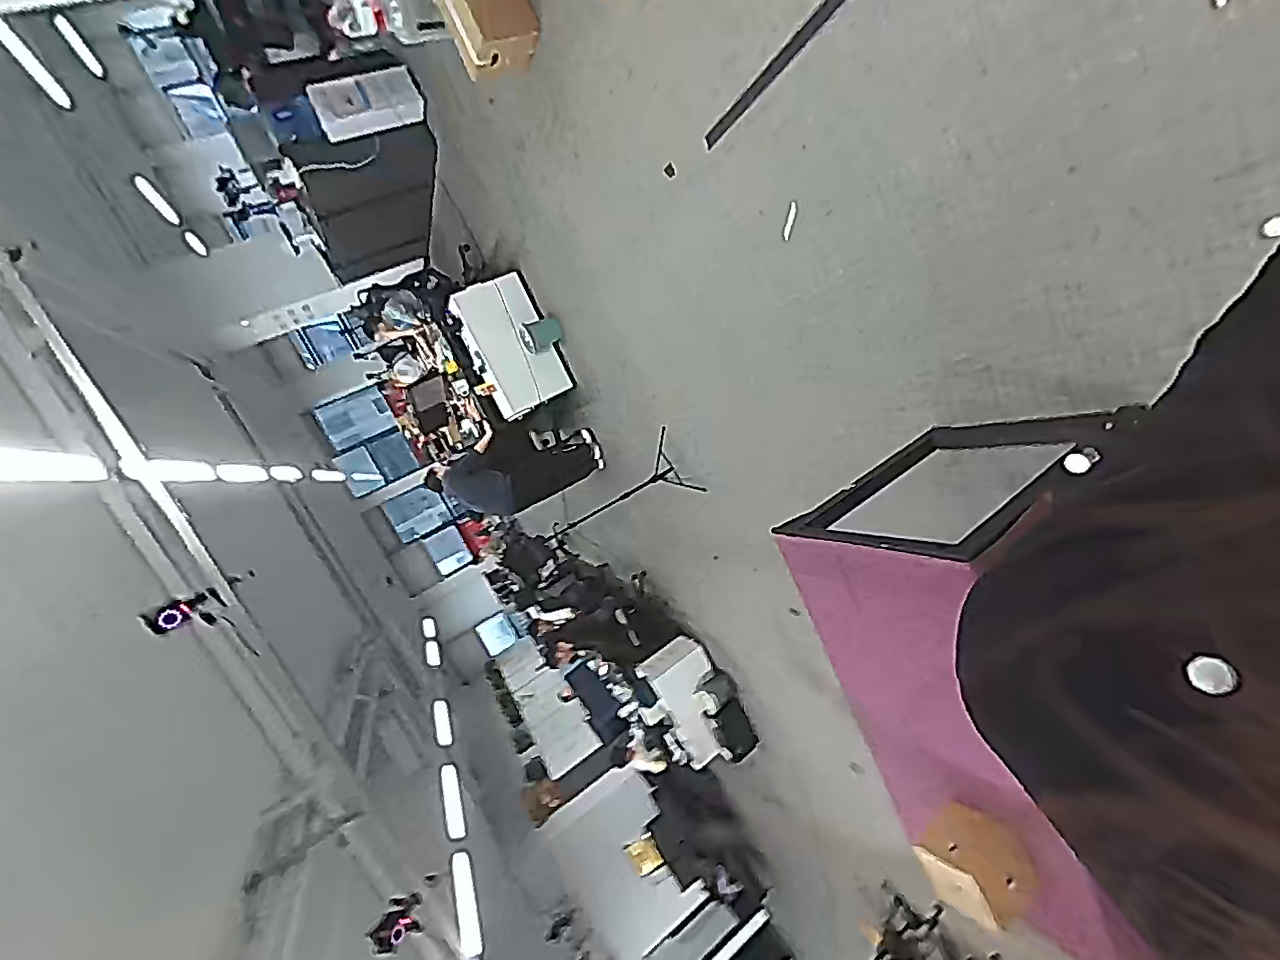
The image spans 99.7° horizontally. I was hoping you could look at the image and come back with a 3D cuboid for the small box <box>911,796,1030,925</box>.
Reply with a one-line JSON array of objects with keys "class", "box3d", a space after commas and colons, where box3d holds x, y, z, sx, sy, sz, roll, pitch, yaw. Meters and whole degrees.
[{"class": "small box", "box3d": [0.840, 0.946, 1.367, 0.168, 0.176, 0.179, 62, 160, -3]}]
